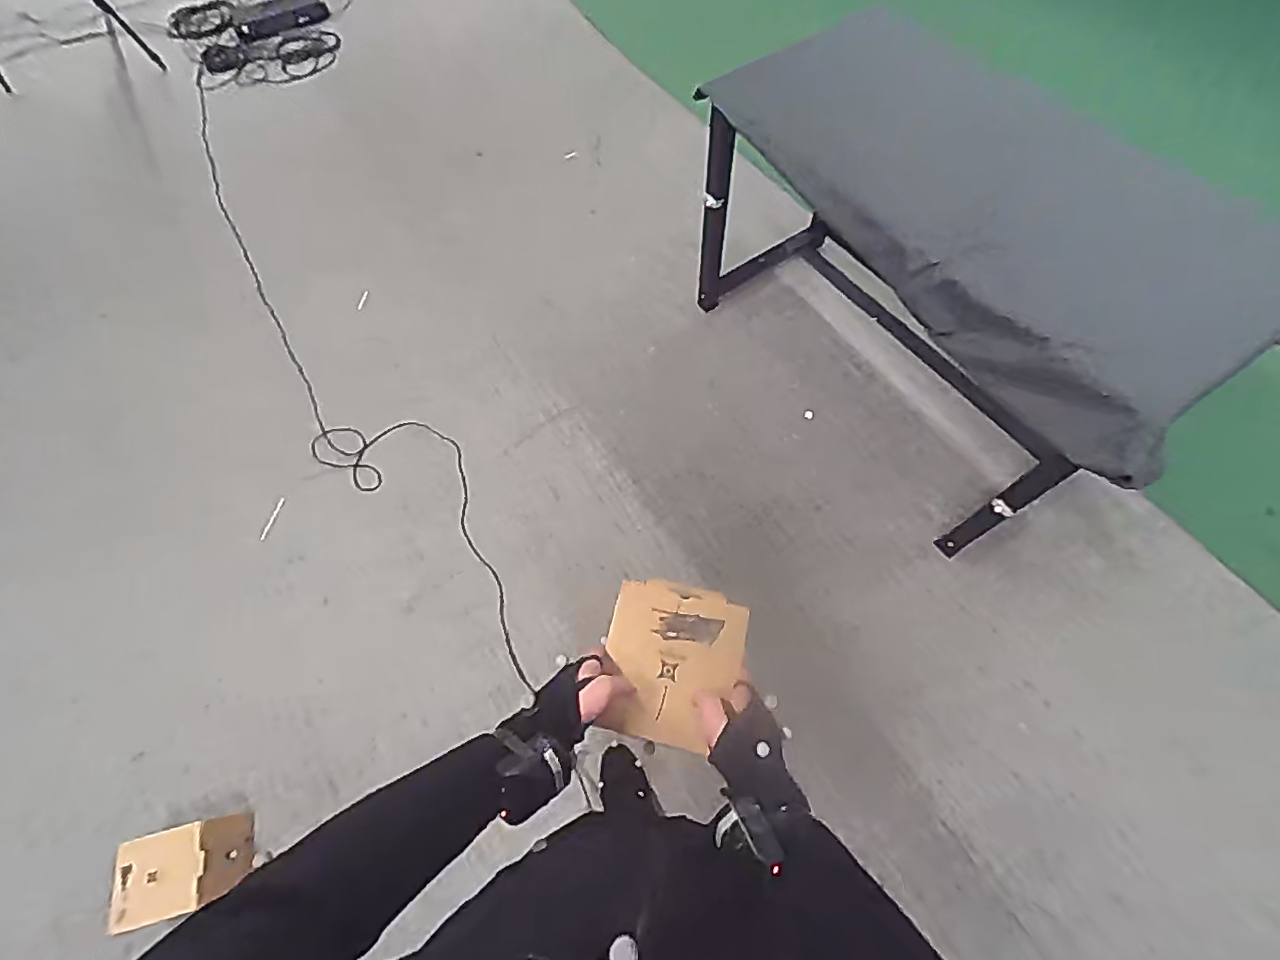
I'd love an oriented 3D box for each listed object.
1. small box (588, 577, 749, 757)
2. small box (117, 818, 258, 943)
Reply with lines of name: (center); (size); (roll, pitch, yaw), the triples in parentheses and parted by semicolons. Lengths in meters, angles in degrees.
small box: (0.040, 0.247, 0.709); (0.168, 0.176, 0.179); (10, 66, 8)
small box: (-0.984, 0.870, 1.196); (0.179, 0.176, 0.168); (-15, 65, -5)
